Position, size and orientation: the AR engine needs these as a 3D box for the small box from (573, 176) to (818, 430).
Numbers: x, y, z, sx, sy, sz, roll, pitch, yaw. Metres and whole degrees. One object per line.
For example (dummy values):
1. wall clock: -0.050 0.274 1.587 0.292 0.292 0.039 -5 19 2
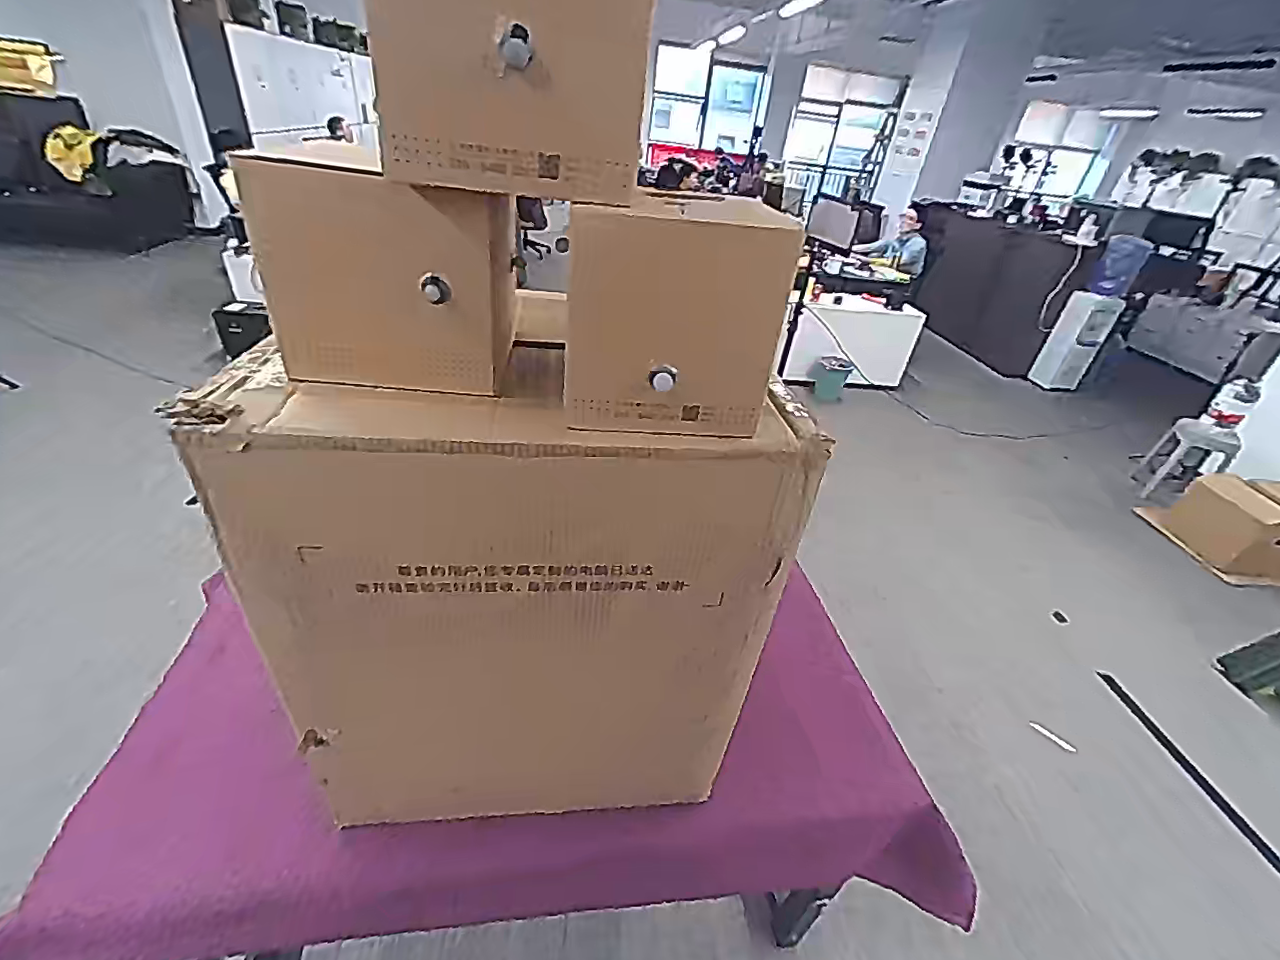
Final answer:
1. small box: 0.028 -0.161 0.474 0.168 0.176 0.179 2 35 -7

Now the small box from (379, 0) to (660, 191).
1. small box: -0.082 -0.313 0.384 0.168 0.176 0.179 0 34 -13

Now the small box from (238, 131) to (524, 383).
1. small box: -0.200 -0.197 0.481 0.179 0.176 0.168 3 33 -8
